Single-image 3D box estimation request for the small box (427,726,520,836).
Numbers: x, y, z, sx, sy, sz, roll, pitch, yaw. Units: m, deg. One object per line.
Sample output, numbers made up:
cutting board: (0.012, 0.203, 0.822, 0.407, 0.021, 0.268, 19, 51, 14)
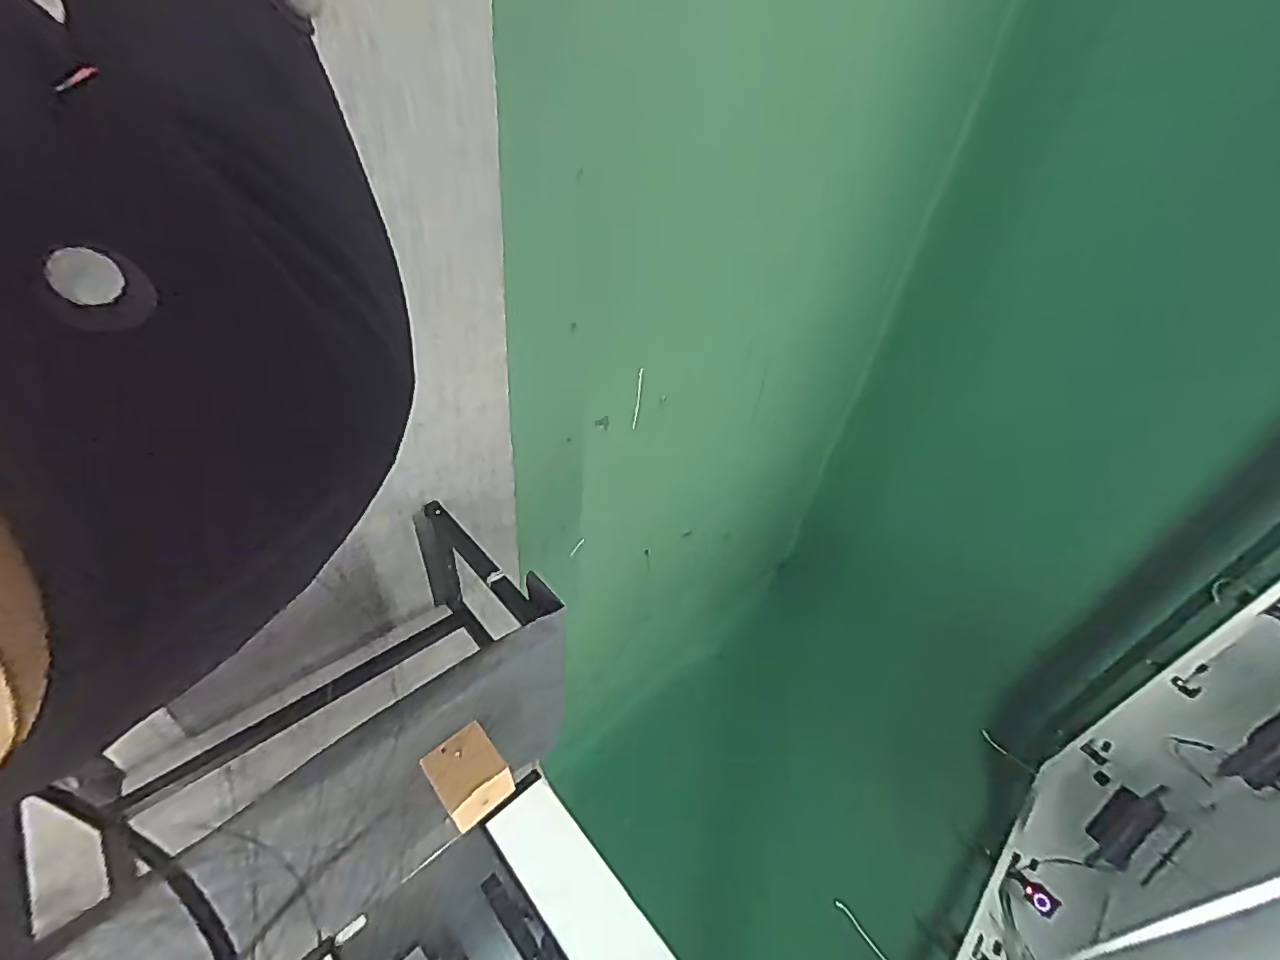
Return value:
small box: (-0.445, 0.801, 1.453, 0.168, 0.176, 0.179, -32, 142, -32)
